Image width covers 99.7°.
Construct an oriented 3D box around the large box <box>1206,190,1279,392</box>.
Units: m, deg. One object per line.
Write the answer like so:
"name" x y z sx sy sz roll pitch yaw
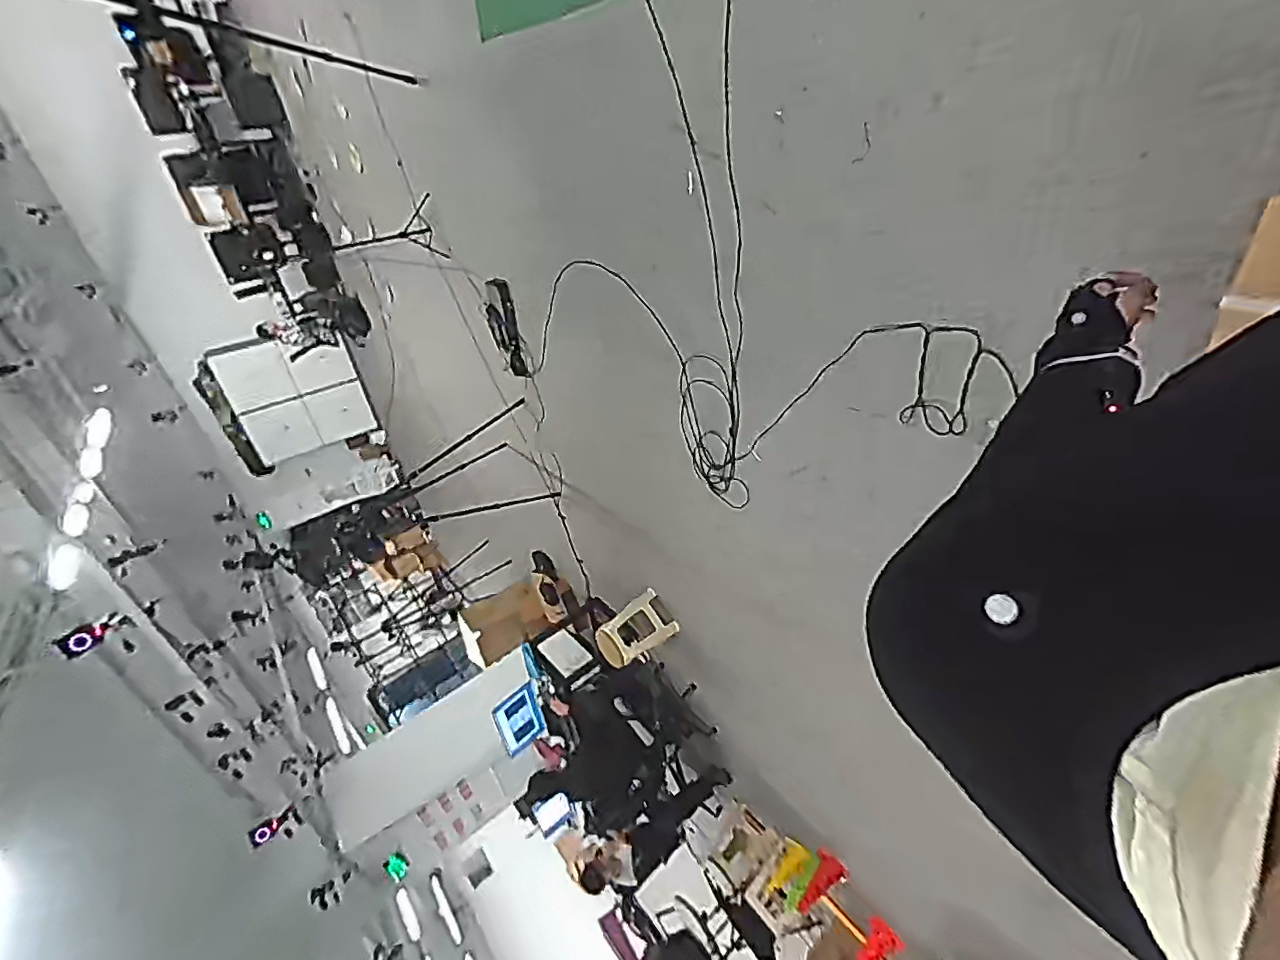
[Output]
"large box" 1.214 -0.305 0.817 0.408 0.320 0.320 26 135 45
